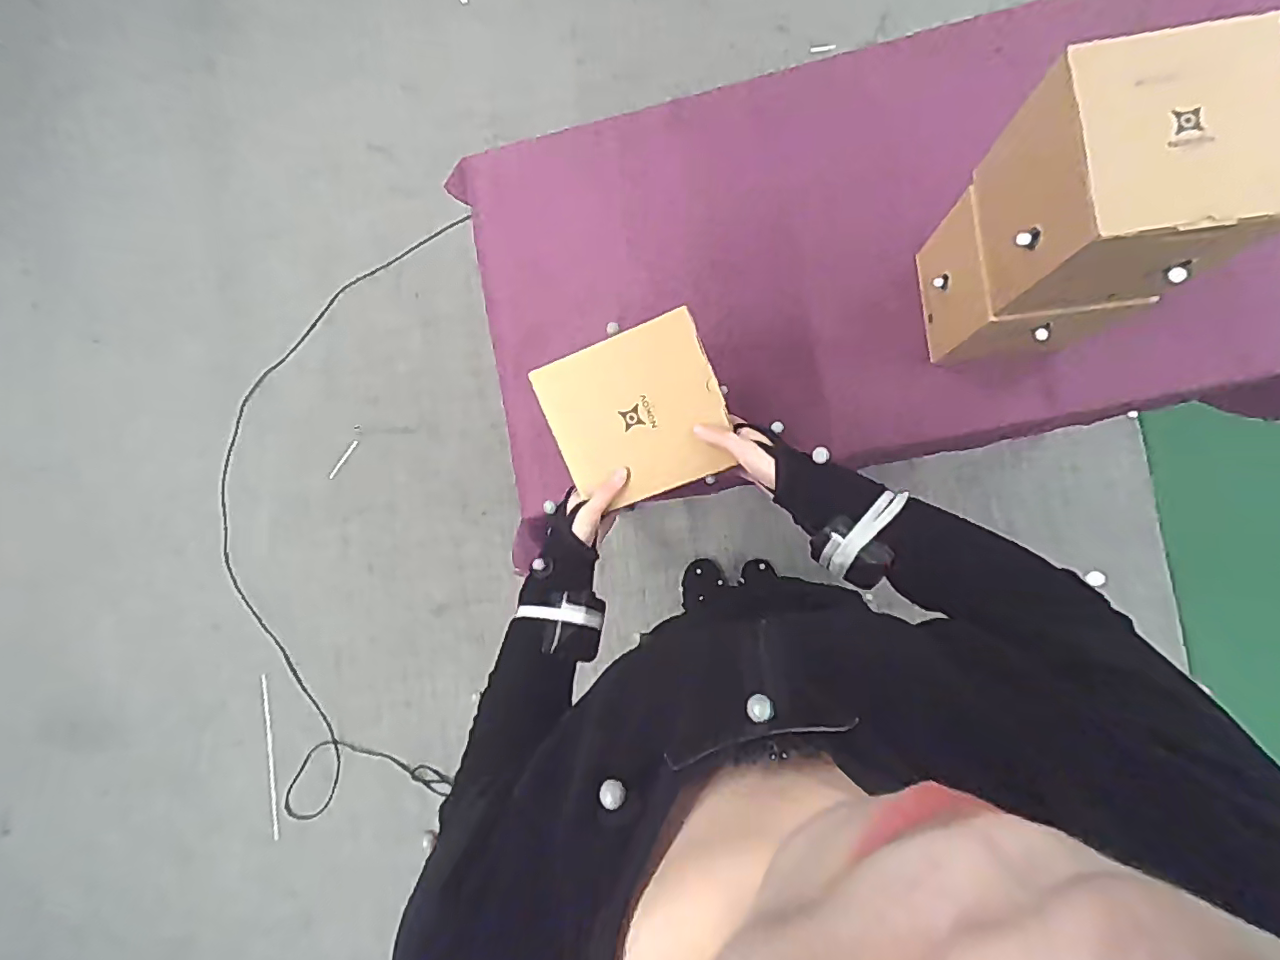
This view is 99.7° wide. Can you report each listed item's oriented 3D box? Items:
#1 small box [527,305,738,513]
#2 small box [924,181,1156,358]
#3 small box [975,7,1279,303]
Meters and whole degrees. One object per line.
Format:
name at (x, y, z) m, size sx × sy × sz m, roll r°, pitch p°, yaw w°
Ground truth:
small box at (0.001, -0.081, 0.624) m, size 0.179 × 0.176 × 0.168 m, roll -22°, pitch 98°, yaw 10°
small box at (0.476, -0.262, 0.679) m, size 0.179 × 0.176 × 0.168 m, roll -5°, pitch 85°, yaw 8°
small box at (0.453, -0.284, 0.519) m, size 0.168 × 0.176 × 0.179 m, roll -4°, pitch 84°, yaw 7°
